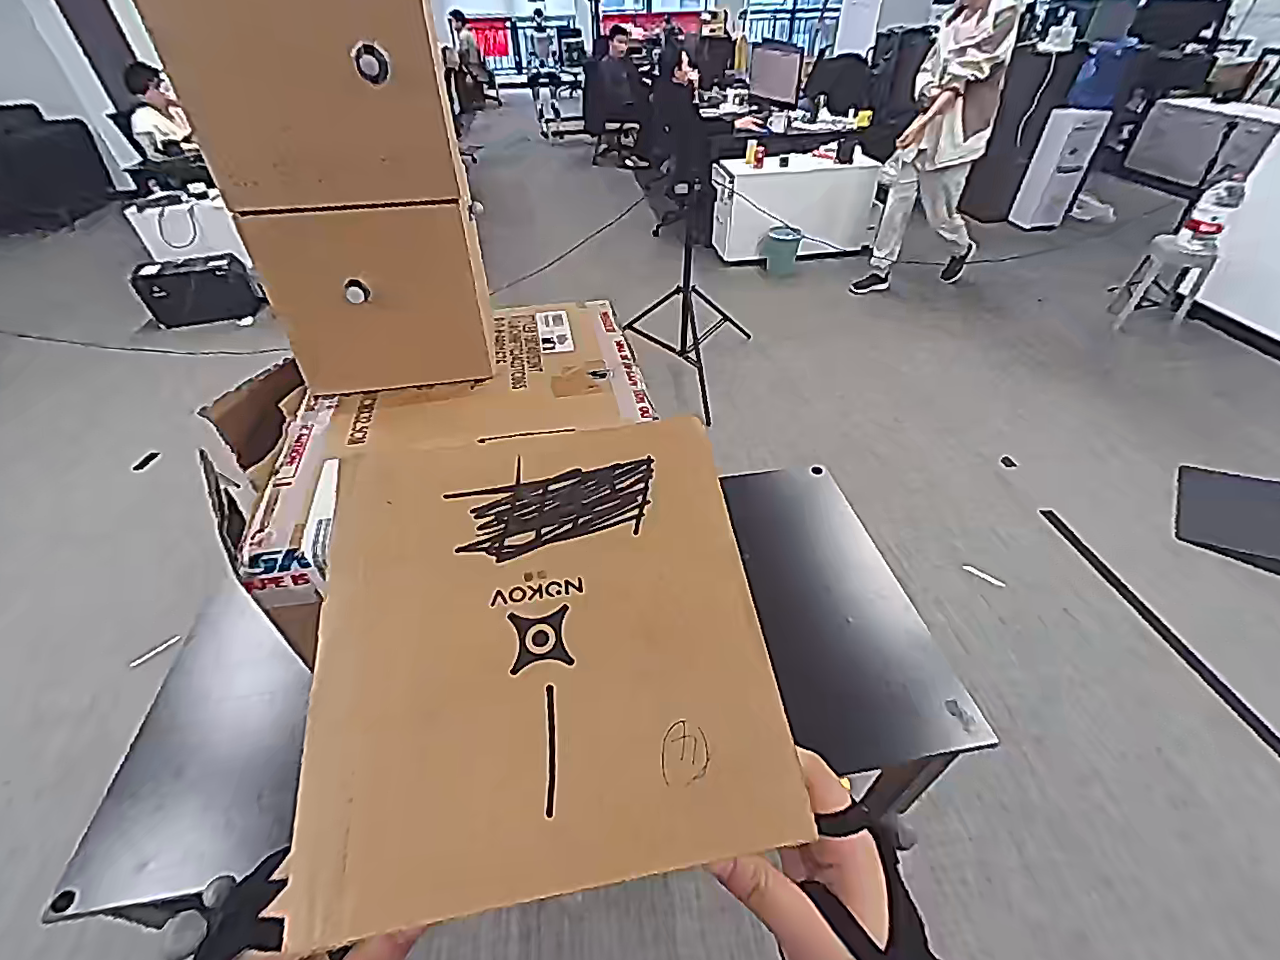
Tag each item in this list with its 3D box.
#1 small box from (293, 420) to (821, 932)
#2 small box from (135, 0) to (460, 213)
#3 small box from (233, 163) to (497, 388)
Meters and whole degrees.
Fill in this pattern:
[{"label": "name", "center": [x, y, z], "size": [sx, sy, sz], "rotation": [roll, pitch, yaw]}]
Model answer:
[{"label": "small box", "center": [-0.037, 0.094, 0.277], "size": [0.168, 0.176, 0.179], "rotation": [-7, 59, -7]}, {"label": "small box", "center": [-0.248, -0.328, 0.435], "size": [0.179, 0.176, 0.168], "rotation": [-11, 40, -11]}, {"label": "small box", "center": [-0.249, -0.205, 0.544], "size": [0.179, 0.176, 0.168], "rotation": [-9, 41, -9]}]
